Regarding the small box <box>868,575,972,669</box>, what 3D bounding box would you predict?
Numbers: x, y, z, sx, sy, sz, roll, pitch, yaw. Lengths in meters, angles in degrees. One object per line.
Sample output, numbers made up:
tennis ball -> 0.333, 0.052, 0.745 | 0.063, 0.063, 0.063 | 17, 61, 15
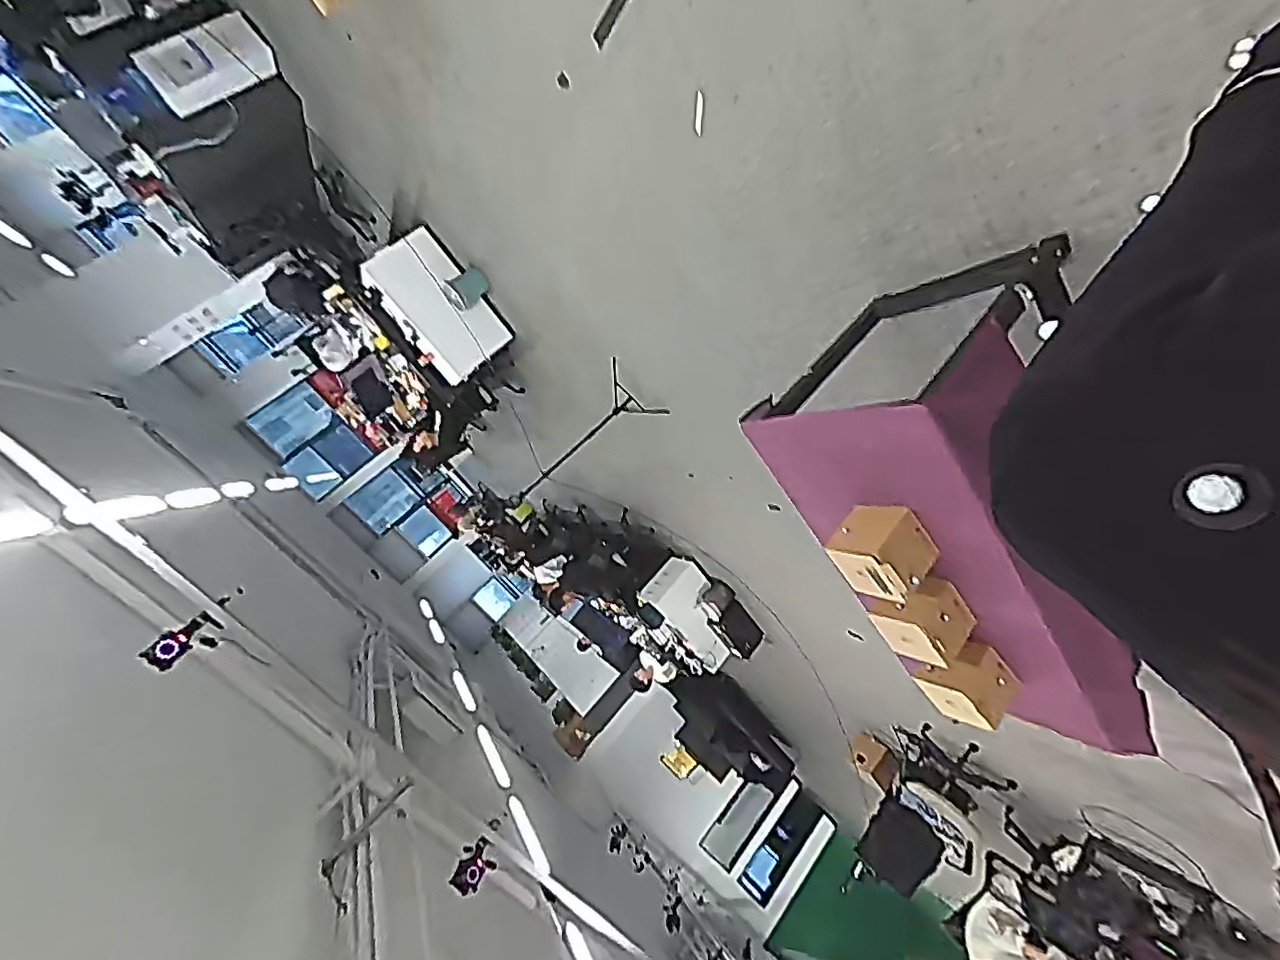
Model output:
small box -> 0.783, 0.386, 1.500 | 0.168, 0.176, 0.179 | 51, 160, -16

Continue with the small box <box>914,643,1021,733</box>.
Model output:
small box -> 0.949, 0.588, 1.568 | 0.168, 0.176, 0.179 | 48, 160, -10
